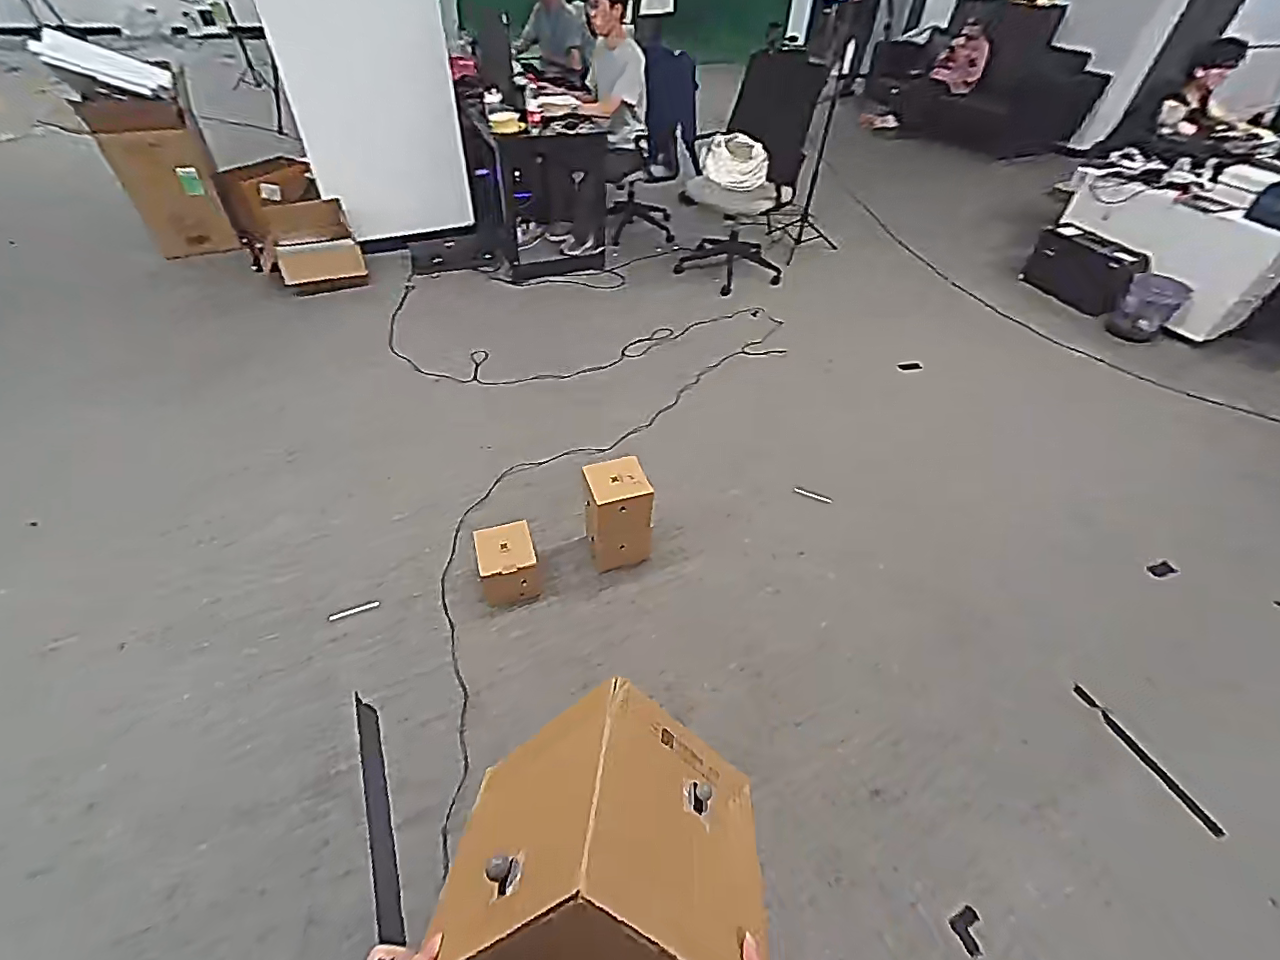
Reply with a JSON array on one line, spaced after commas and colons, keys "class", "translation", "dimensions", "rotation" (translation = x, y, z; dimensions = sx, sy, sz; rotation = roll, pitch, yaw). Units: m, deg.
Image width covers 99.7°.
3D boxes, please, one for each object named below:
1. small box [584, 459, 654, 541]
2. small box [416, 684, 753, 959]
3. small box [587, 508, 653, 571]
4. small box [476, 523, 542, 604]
[{"class": "small box", "translation": [-0.067, 0.065, 1.657], "dimensions": [0.179, 0.176, 0.168], "rotation": [-12, 48, -16]}, {"class": "small box", "translation": [-0.029, 0.300, 0.414], "dimensions": [0.168, 0.179, 0.176], "rotation": [43, 19, -13]}, {"class": "small box", "translation": [-0.067, 0.177, 1.779], "dimensions": [0.179, 0.176, 0.168], "rotation": [-14, 49, -16]}, {"class": "small box", "translation": [-0.402, 0.265, 1.672], "dimensions": [0.168, 0.176, 0.179], "rotation": [-11, 47, -15]}]
